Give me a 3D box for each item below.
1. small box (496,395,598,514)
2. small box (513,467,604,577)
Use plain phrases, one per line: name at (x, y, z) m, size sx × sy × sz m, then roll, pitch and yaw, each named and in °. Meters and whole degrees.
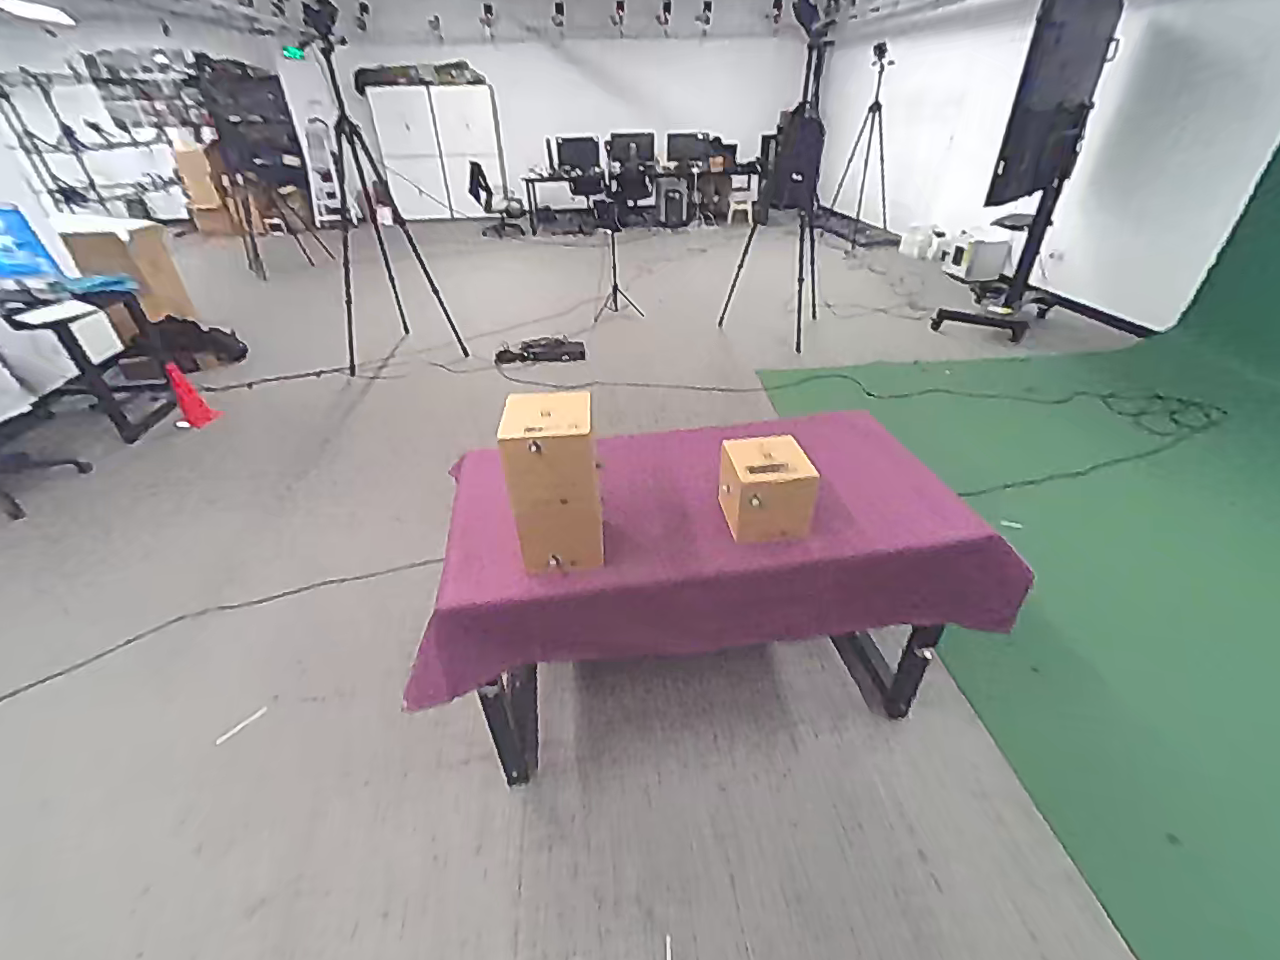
small box at (-0.173, -0.051, 1.061) m, size 0.168 × 0.176 × 0.179 m, roll -5°, pitch 33°, yaw -1°
small box at (-0.167, 0.085, 1.154) m, size 0.168 × 0.176 × 0.179 m, roll -4°, pitch 35°, yaw -2°
